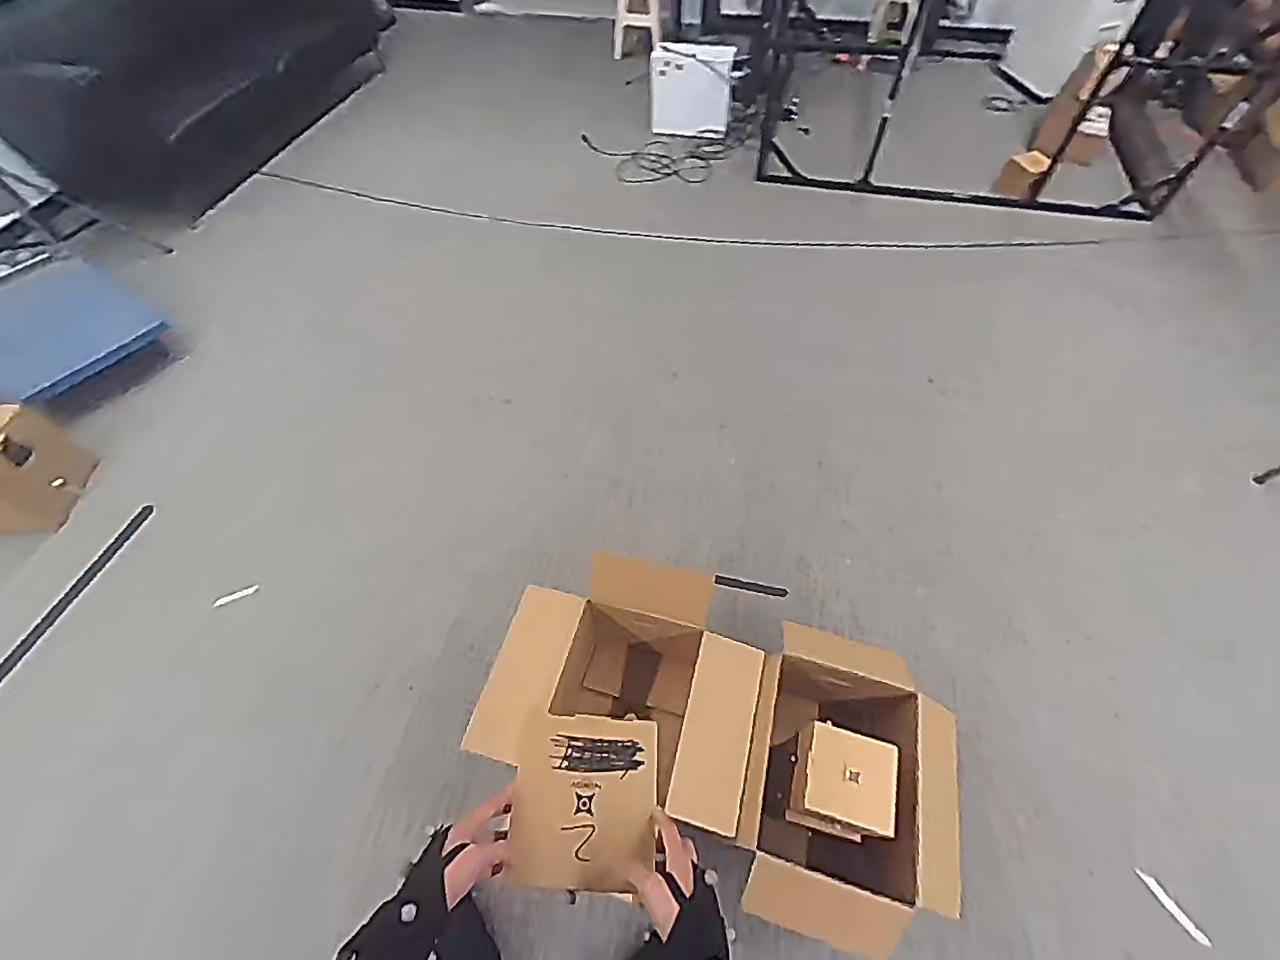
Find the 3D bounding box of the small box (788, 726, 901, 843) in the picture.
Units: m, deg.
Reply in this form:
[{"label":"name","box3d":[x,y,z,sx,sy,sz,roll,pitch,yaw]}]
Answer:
[{"label":"small box","box3d":[0.430,0.645,1.150,0.179,0.176,0.168,14,60,10]}]
